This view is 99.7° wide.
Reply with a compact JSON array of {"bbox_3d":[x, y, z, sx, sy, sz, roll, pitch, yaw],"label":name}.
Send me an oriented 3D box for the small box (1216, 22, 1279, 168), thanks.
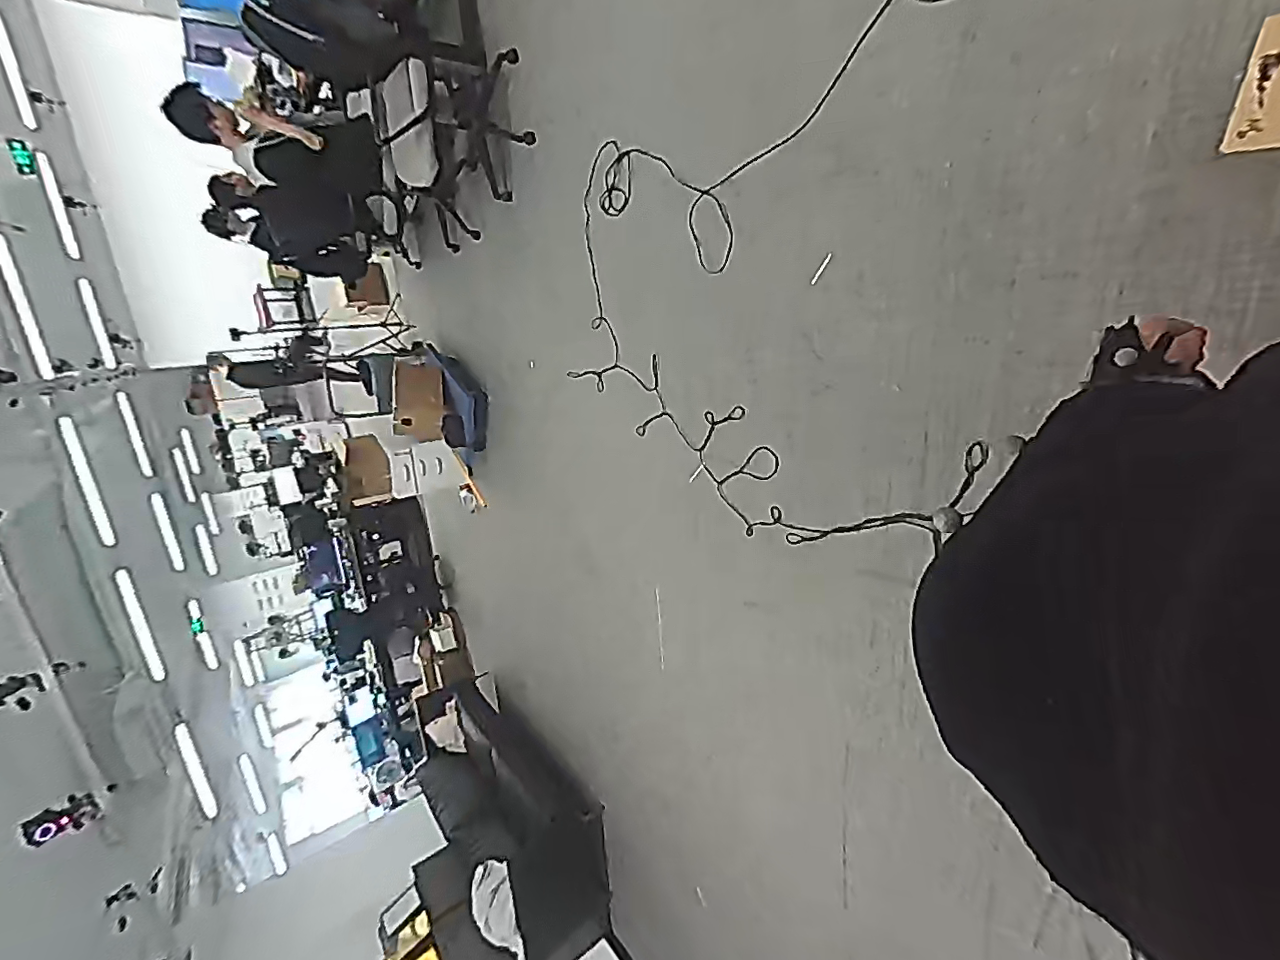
[{"bbox_3d":[0.978,-0.549,0.763,0.179,0.176,0.168,25,123,47],"label":"small box"}]
